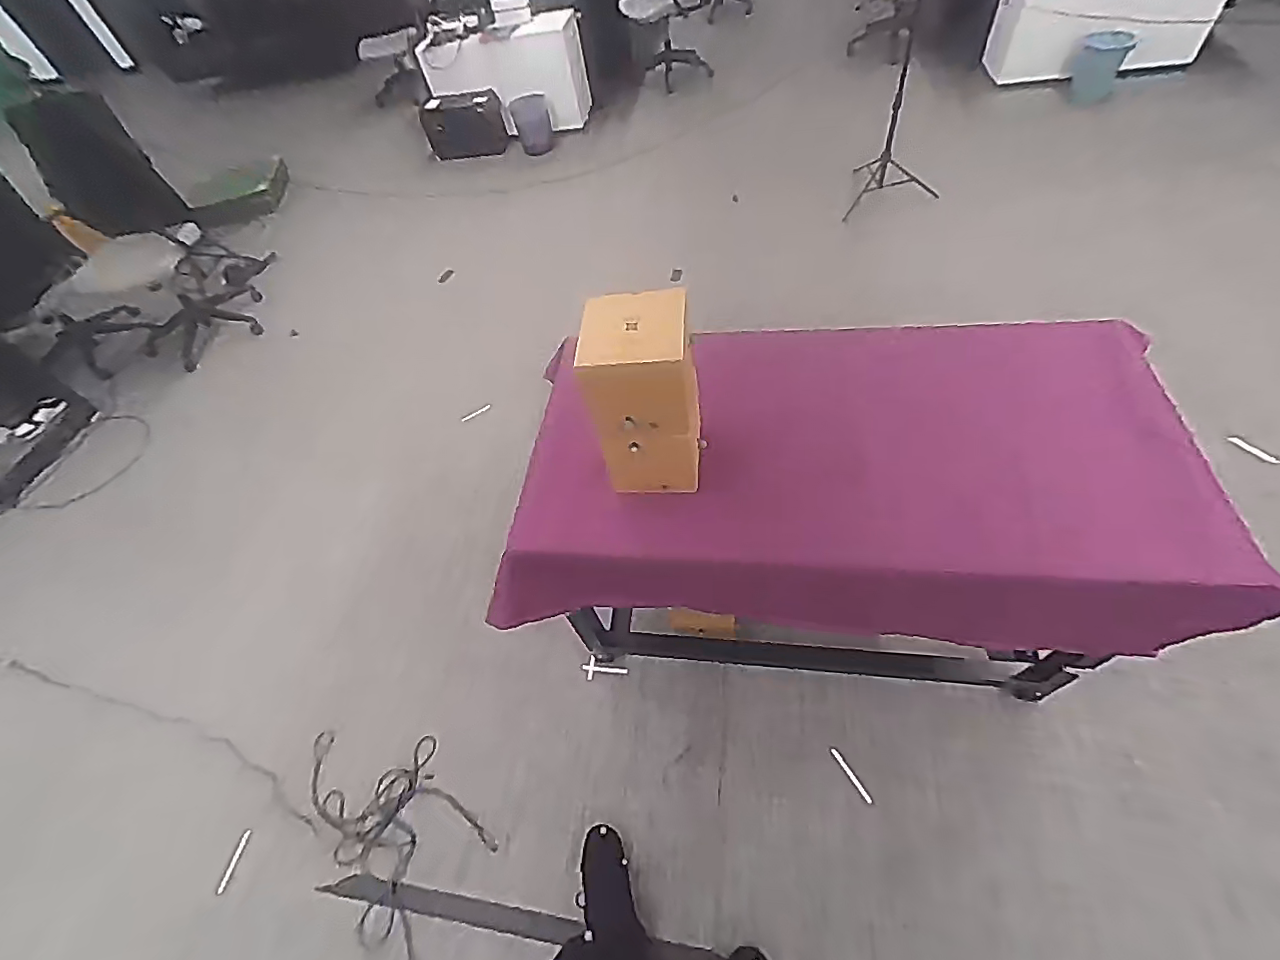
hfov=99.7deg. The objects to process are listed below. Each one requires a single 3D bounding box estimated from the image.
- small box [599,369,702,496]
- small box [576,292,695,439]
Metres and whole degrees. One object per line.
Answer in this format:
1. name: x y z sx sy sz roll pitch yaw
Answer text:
1. small box: 0.029 -0.089 1.028 0.168 0.176 0.179 0 54 10
2. small box: 0.002 -0.187 0.900 0.168 0.176 0.179 -1 54 9
